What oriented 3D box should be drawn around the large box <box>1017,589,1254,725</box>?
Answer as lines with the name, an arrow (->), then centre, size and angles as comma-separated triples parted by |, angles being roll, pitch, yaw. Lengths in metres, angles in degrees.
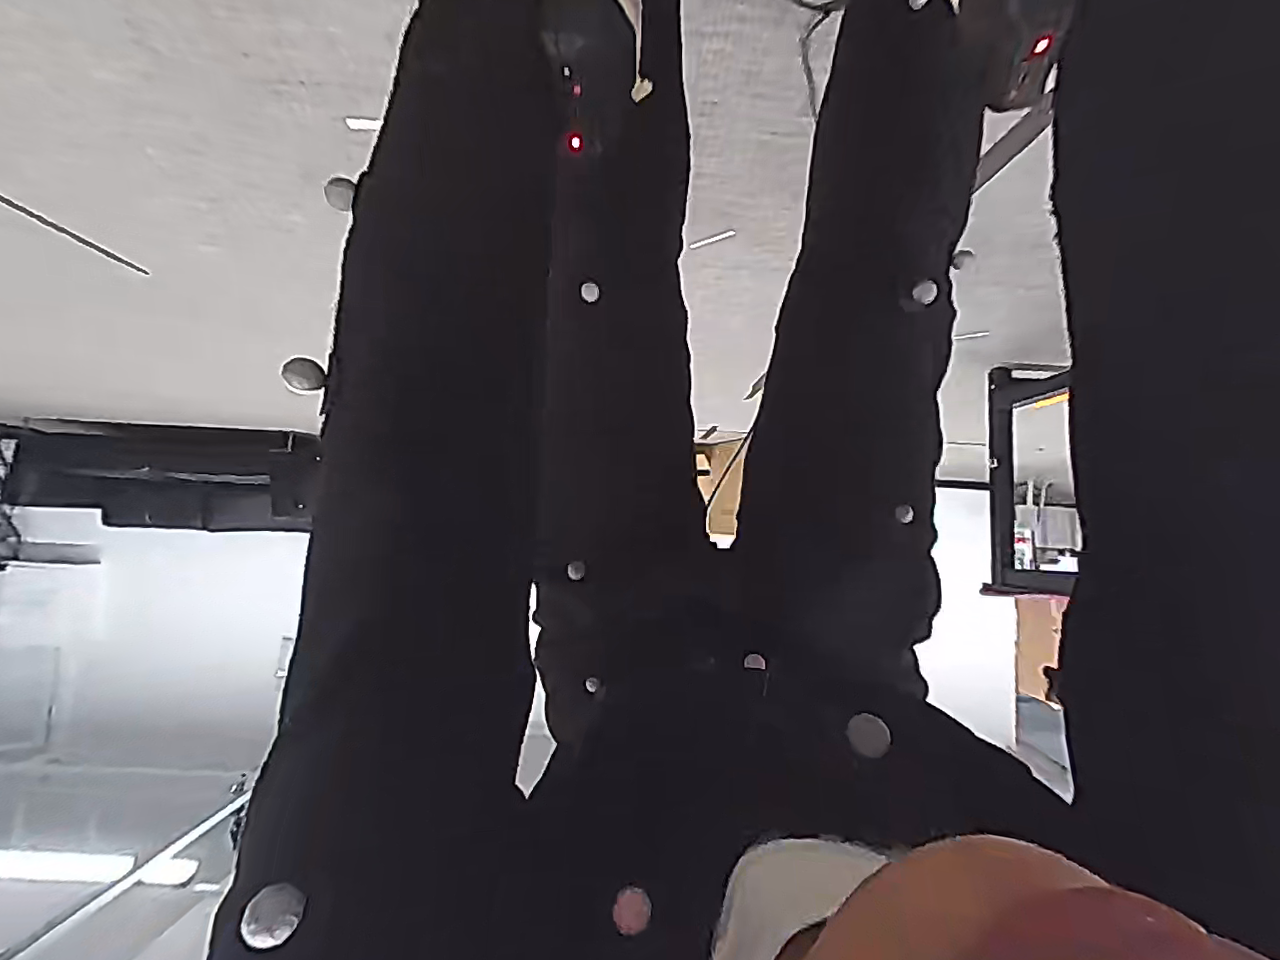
large box -> 1.390, 0.490, 1.556 | 0.408, 0.320, 0.320 | 2, 176, -1
